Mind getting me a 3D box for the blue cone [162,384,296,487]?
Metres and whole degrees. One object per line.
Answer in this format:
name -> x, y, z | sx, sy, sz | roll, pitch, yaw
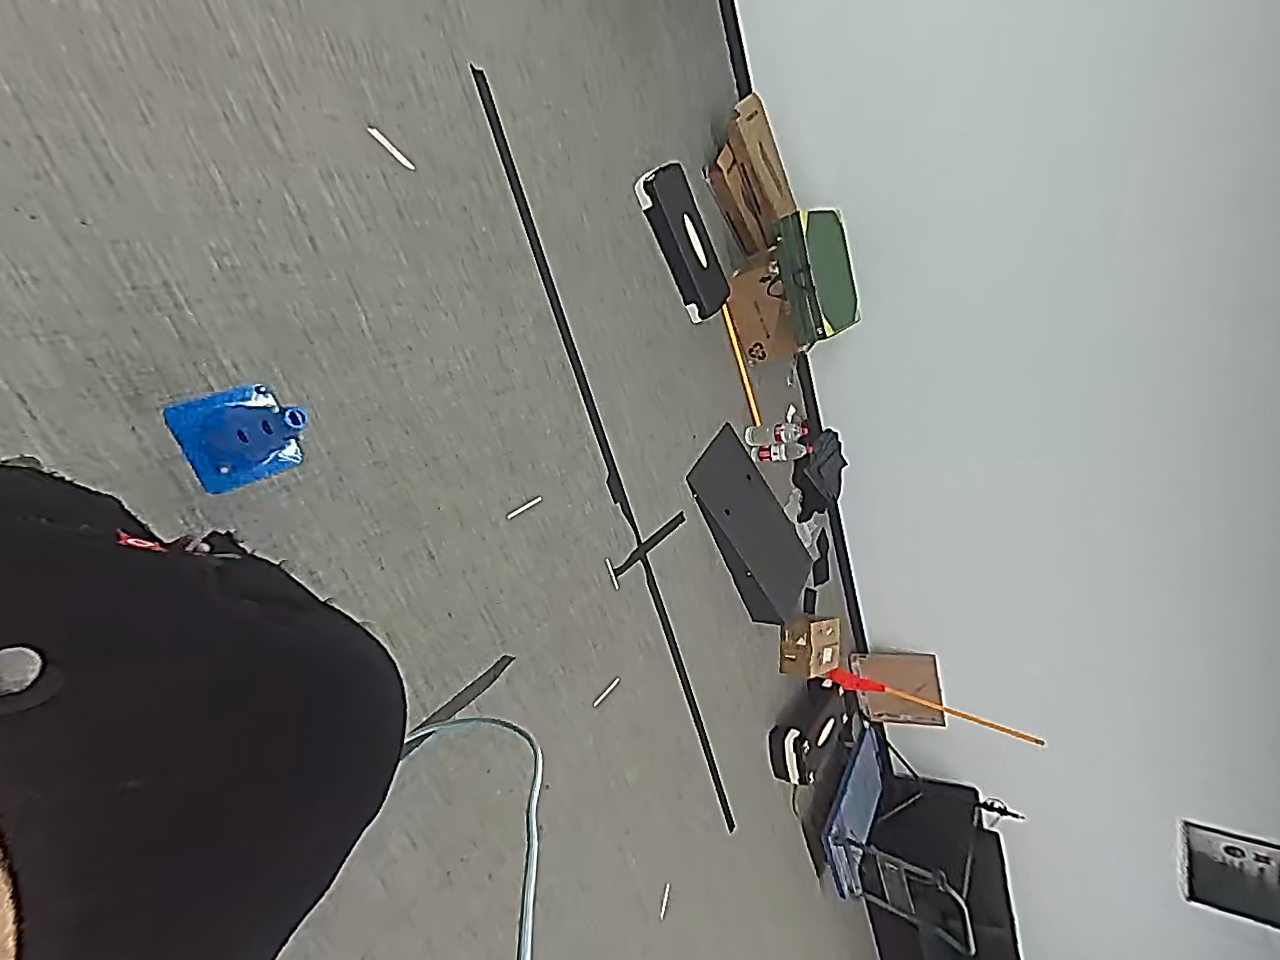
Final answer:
blue cone -> -0.753, -0.104, 1.057 | 0.193, 0.380, 0.192 | -34, 112, -46
